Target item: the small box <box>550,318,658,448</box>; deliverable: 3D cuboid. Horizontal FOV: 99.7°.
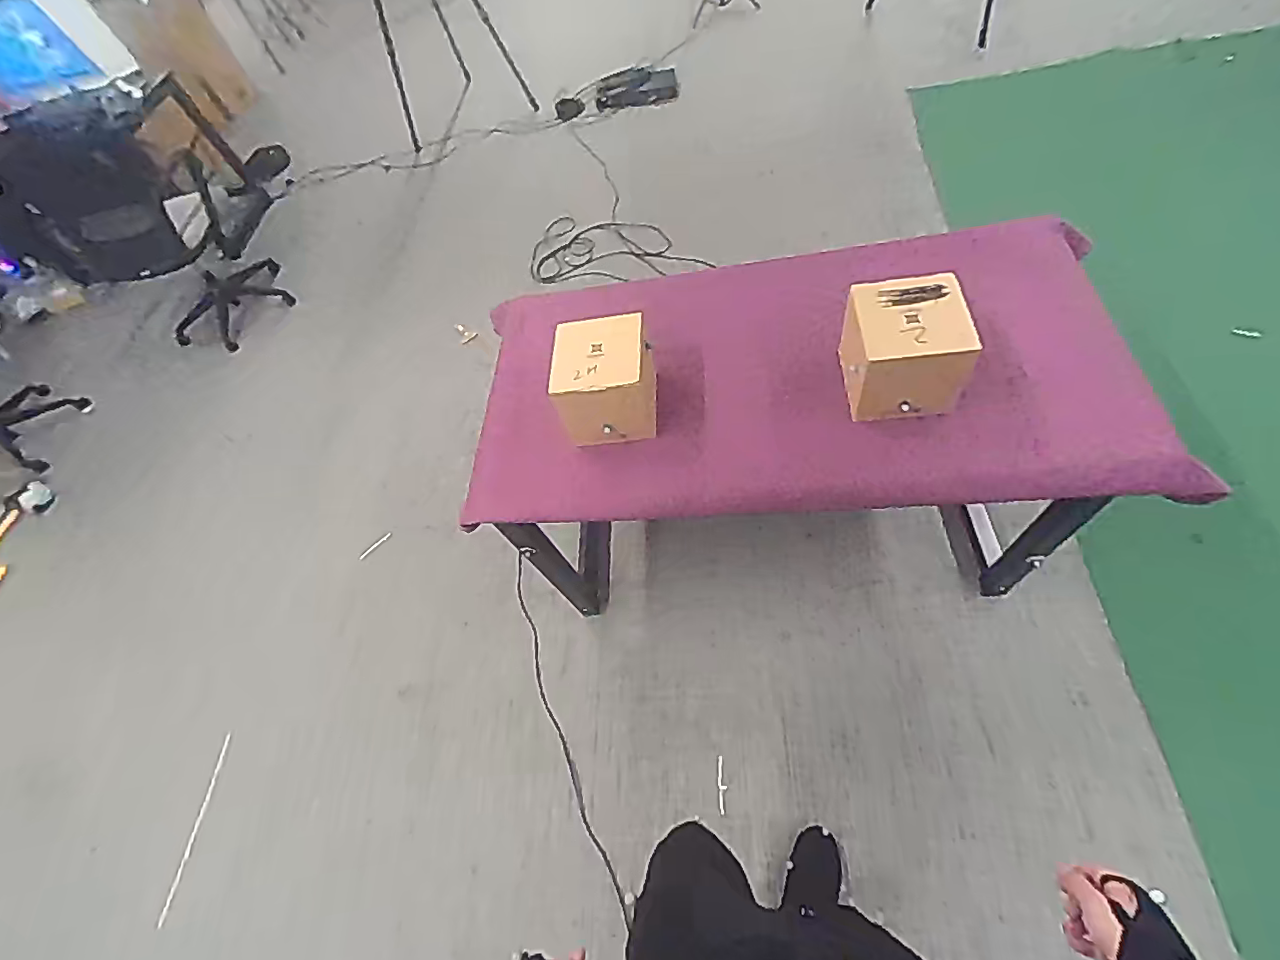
[{"bbox_3d":[-0.061,-0.183,1.047,0.168,0.176,0.179,-5,59,11],"label":"small box"}]
